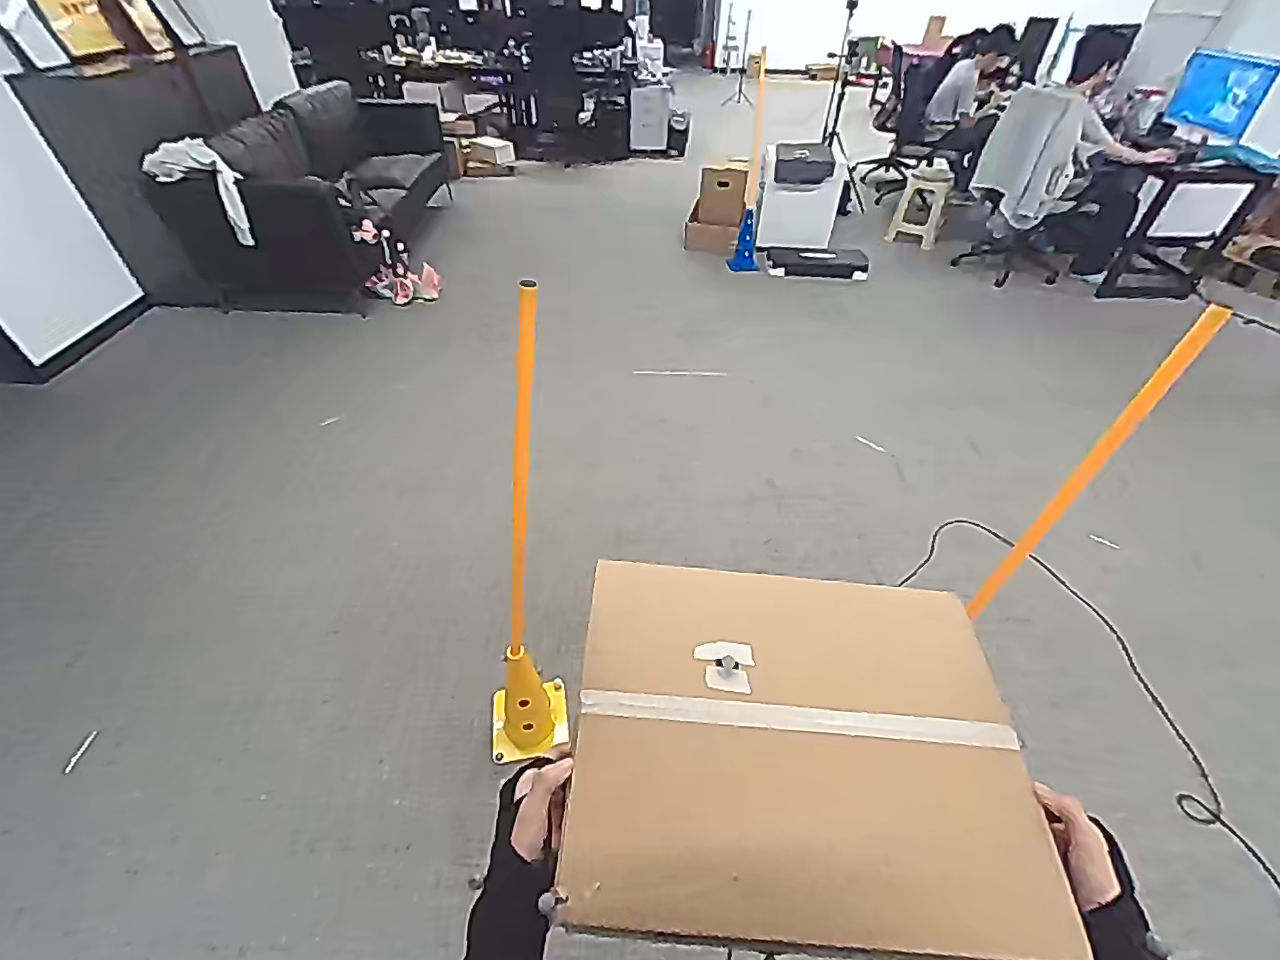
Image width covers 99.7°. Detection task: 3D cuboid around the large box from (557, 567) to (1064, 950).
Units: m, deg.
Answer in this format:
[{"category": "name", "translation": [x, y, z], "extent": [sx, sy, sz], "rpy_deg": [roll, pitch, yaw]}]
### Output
[{"category": "large box", "translation": [0.134, 0.322, 0.623], "extent": [0.408, 0.320, 0.320], "rpy_deg": [5, 49, 0]}]
